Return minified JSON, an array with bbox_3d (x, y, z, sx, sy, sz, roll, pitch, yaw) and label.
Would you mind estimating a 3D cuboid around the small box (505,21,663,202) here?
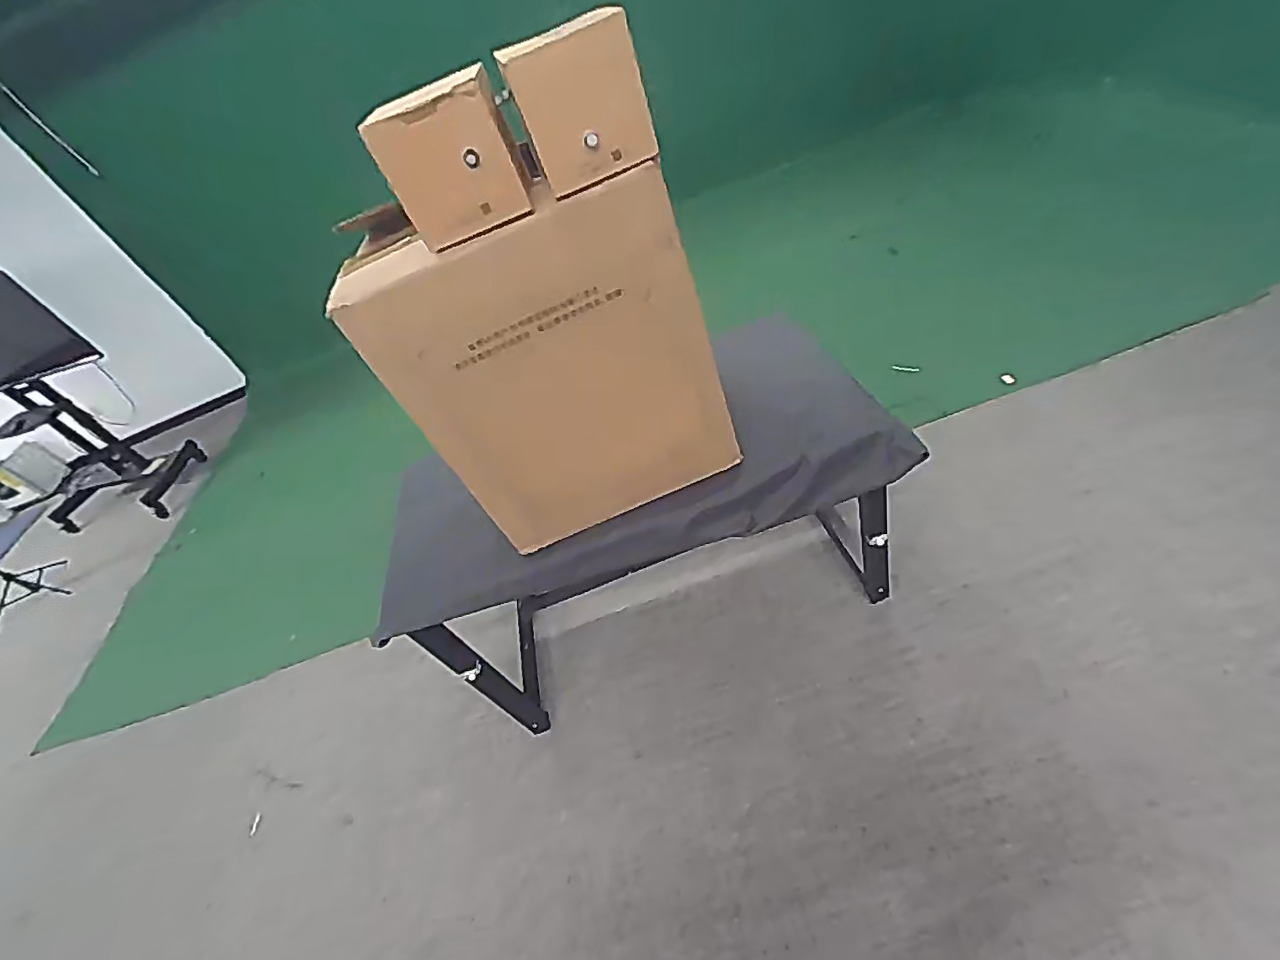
[{"bbox_3d":[-0.081,-0.532,0.788,0.168,0.176,0.179,-23,43,2],"label":"small box"}]
